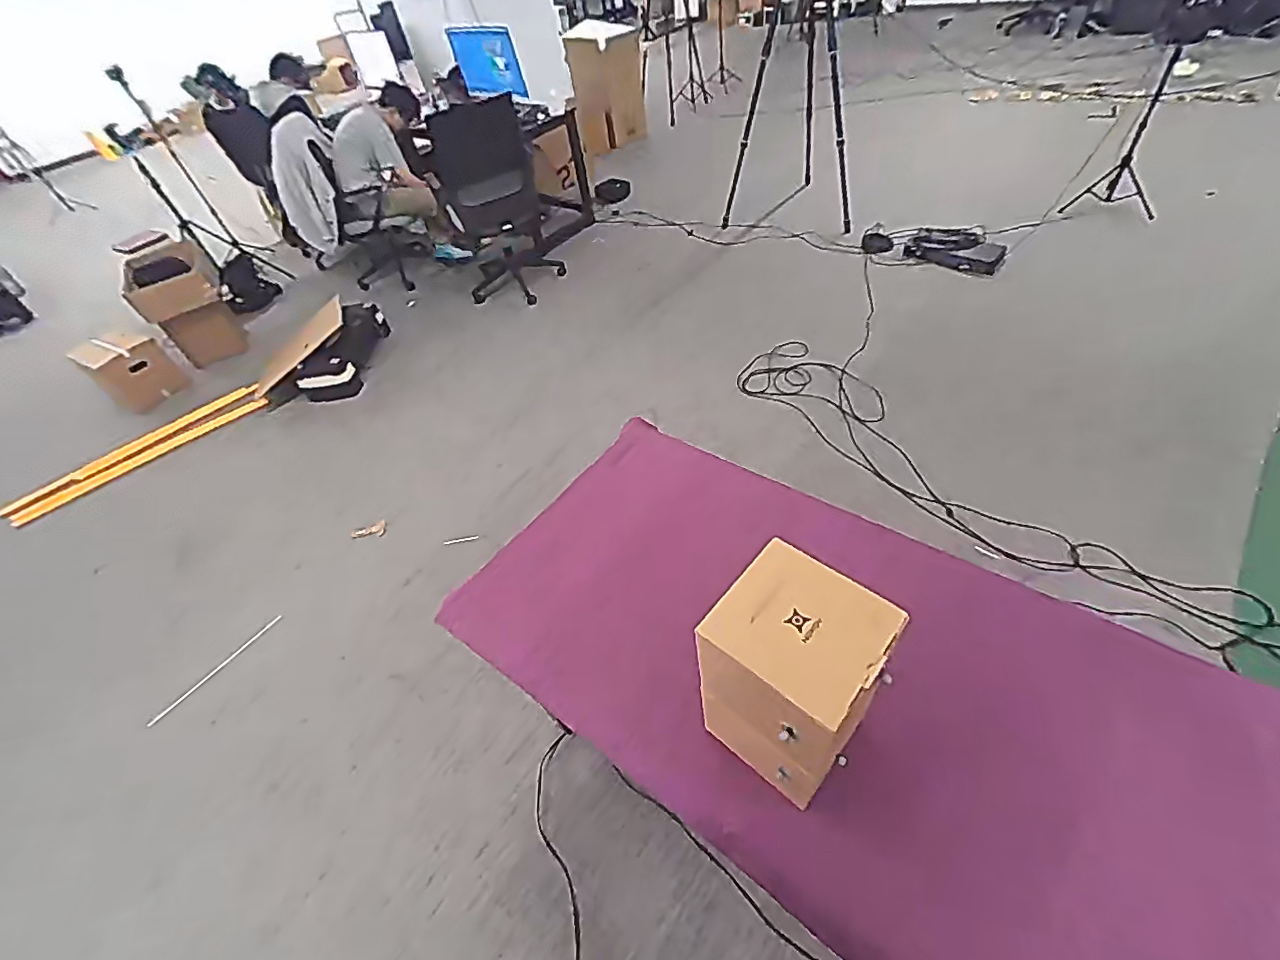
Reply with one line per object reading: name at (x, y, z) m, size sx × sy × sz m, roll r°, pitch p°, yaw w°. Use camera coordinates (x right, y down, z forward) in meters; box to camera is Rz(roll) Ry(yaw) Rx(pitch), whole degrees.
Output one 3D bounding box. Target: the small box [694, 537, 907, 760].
small box at (0.187, 0.210, 0.660) m, size 0.179 × 0.176 × 0.168 m, roll 31°, pitch 59°, yaw 32°
